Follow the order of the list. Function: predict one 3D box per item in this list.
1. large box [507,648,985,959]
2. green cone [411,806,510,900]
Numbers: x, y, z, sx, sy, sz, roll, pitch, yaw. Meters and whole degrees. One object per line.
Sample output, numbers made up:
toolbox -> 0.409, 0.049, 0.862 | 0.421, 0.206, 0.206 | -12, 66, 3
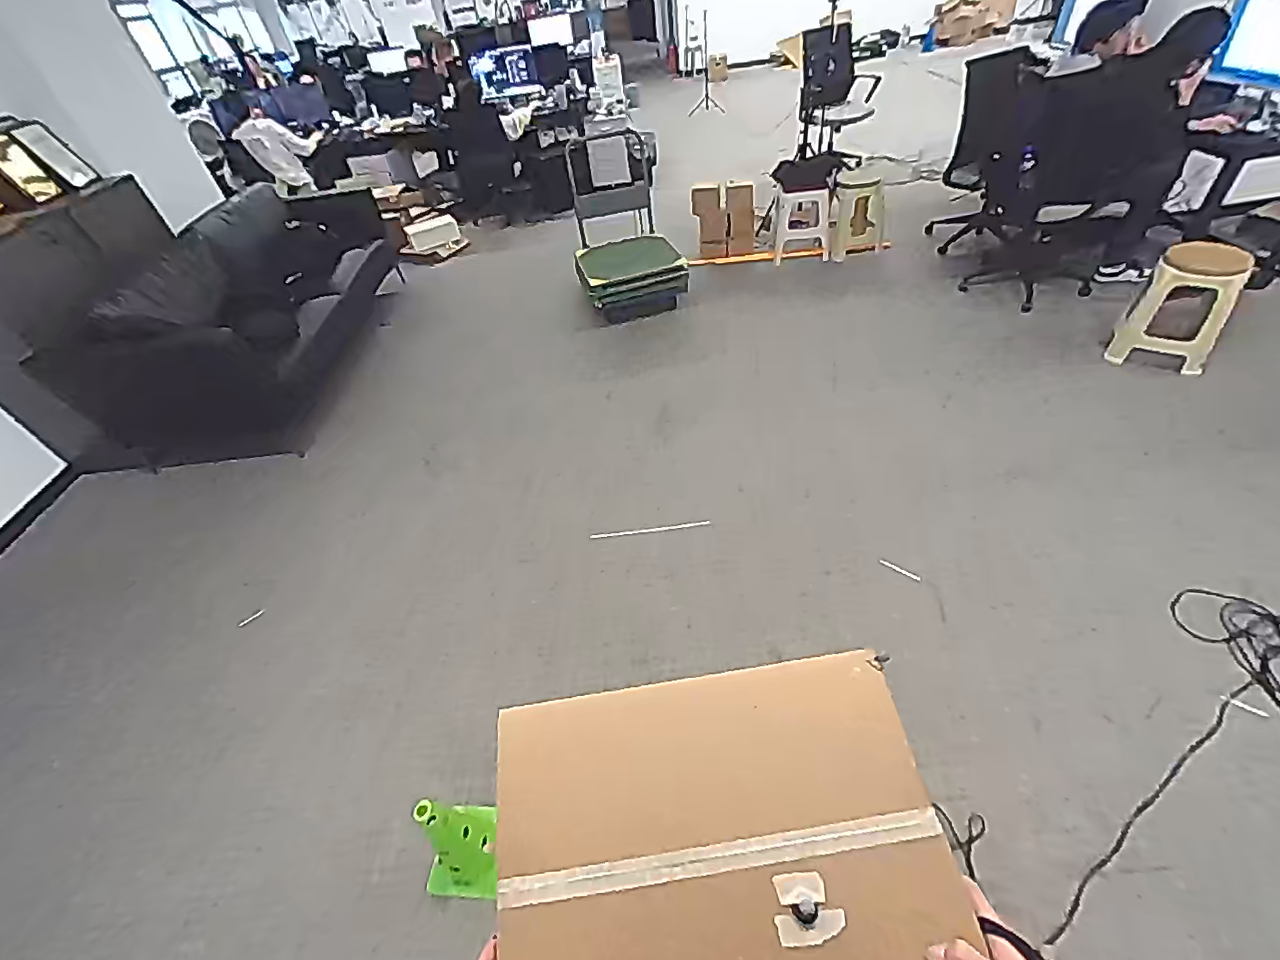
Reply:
large box -> 0.085, 0.424, 0.627 | 0.408, 0.320, 0.320 | -10, 58, -1
green cone -> -0.458, 0.855, 1.298 | 0.200, 0.368, 0.202 | -3, 45, 8
